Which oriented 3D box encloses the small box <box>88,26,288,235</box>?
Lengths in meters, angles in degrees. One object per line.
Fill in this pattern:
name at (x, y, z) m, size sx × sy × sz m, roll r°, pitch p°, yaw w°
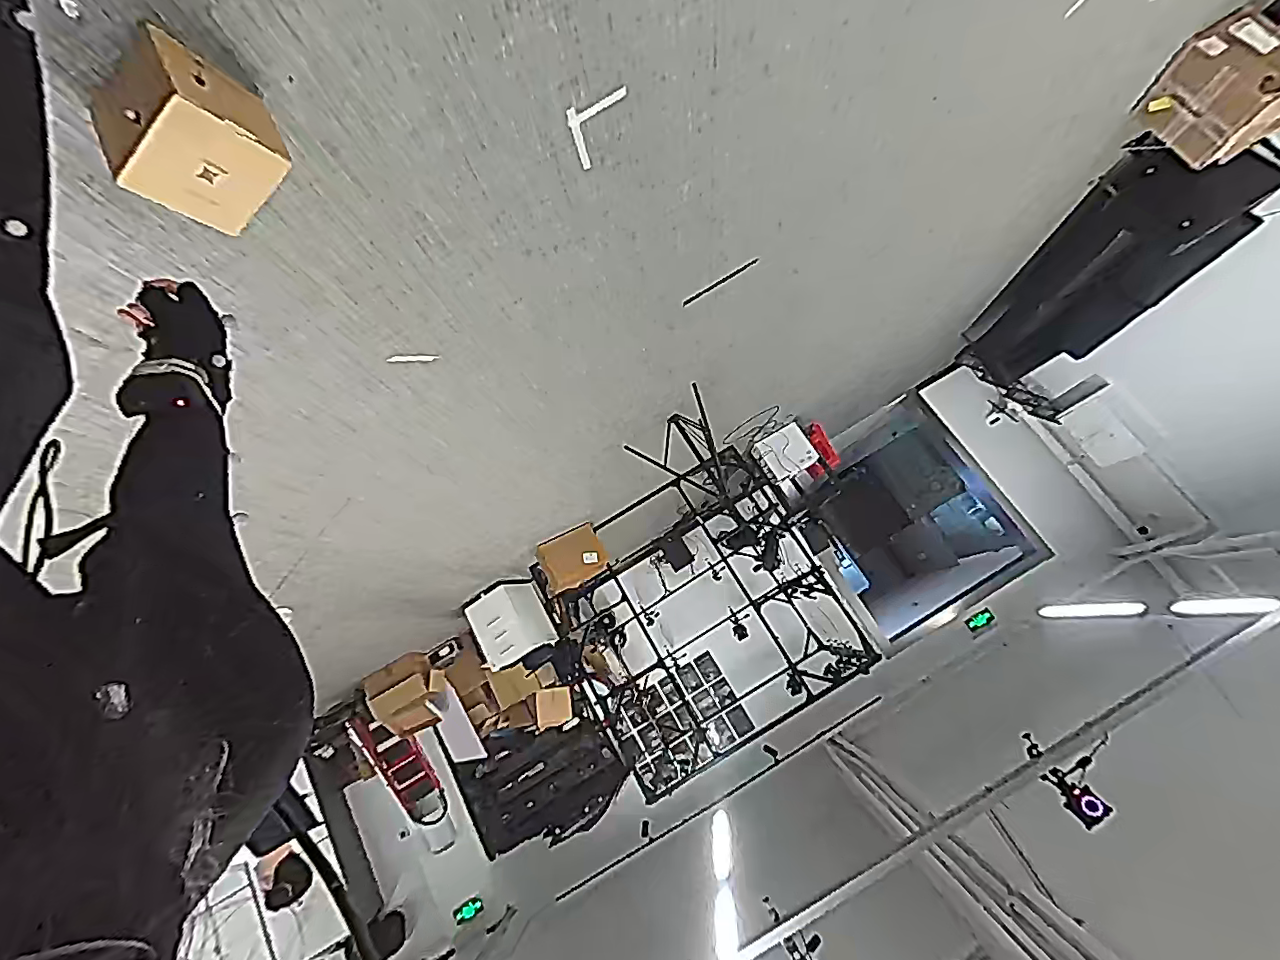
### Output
small box at (-0.700, -0.533, 0.836) m, size 0.179 × 0.176 × 0.168 m, roll -36°, pitch 163°, yaw 16°
